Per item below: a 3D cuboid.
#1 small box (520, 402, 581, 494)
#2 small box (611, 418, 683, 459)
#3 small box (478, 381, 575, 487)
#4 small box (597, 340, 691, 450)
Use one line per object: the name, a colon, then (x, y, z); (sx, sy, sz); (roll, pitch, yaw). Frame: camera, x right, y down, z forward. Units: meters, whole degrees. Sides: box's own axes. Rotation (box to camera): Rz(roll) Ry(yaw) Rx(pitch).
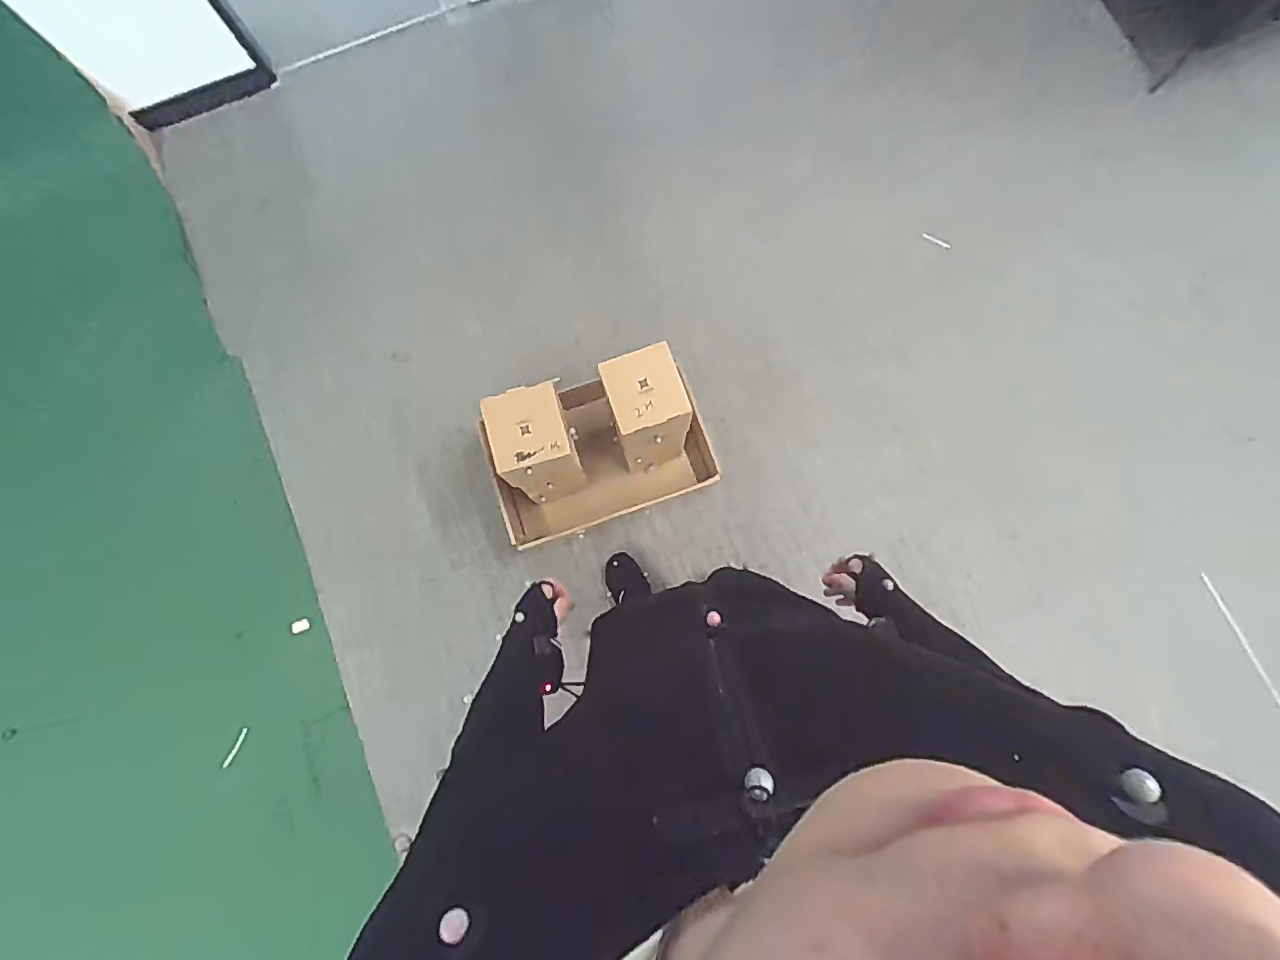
small box: (-0.257, -0.079, 1.395); (0.168, 0.176, 0.179); (-18, 80, -4)
small box: (0.010, -0.164, 1.411); (0.168, 0.176, 0.179); (-17, 79, -2)
small box: (-0.252, -0.099, 1.231); (0.168, 0.176, 0.179); (-15, 79, -4)
small box: (0.008, -0.189, 1.247); (0.168, 0.176, 0.179); (-19, 80, -1)
